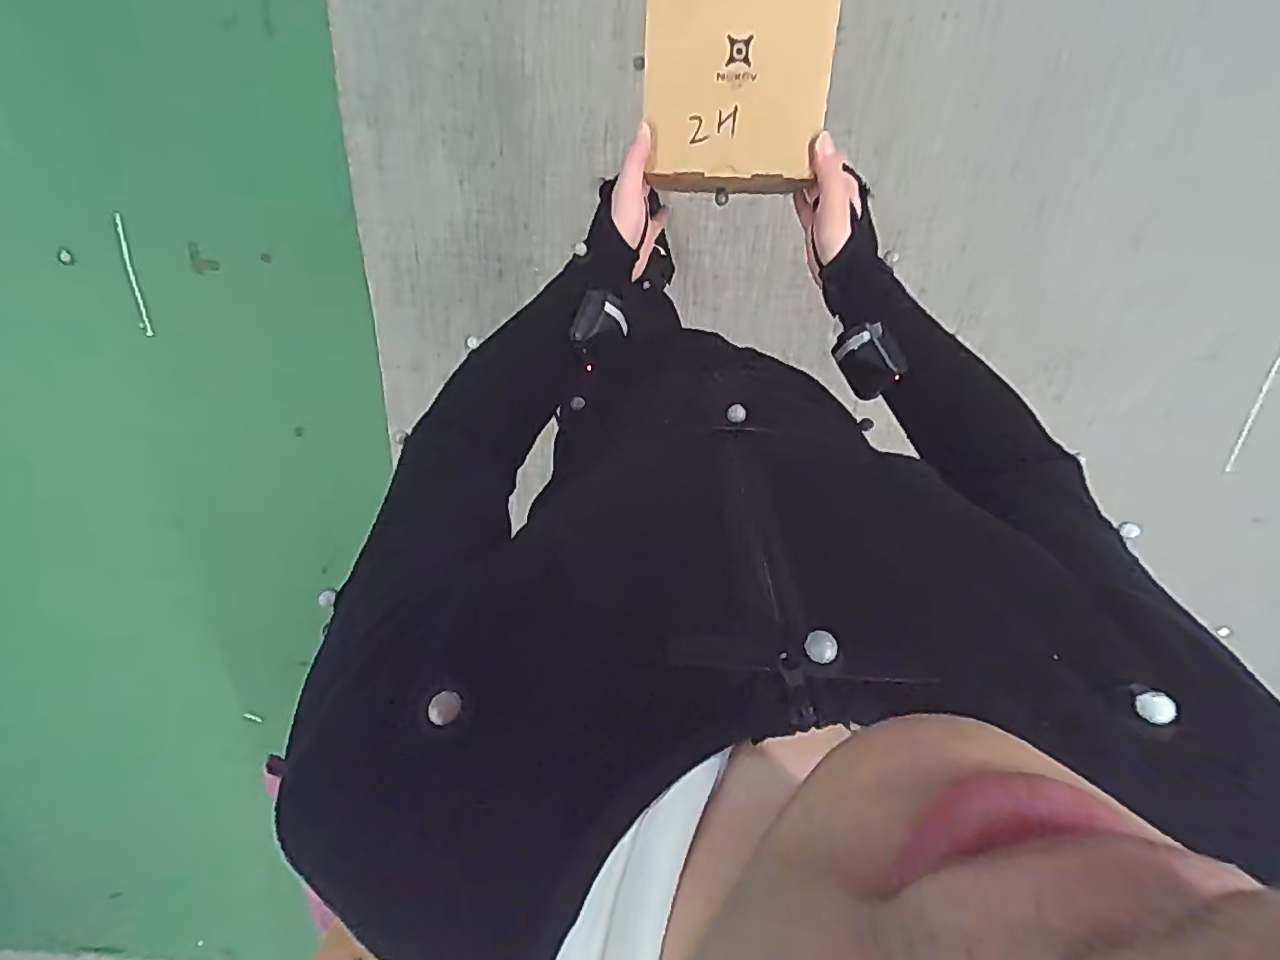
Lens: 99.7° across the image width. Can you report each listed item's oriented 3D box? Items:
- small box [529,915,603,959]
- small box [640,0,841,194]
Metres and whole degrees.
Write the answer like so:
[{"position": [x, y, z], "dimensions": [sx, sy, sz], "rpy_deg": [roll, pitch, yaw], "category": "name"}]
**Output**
[{"position": [-0.177, 1.175, 1.273], "dimensions": [0.168, 0.176, 0.179], "rpy_deg": [3, 111, 0], "category": "small box"}, {"position": [0.094, -0.400, 0.544], "dimensions": [0.168, 0.176, 0.179], "rpy_deg": [5, 112, 6], "category": "small box"}]
